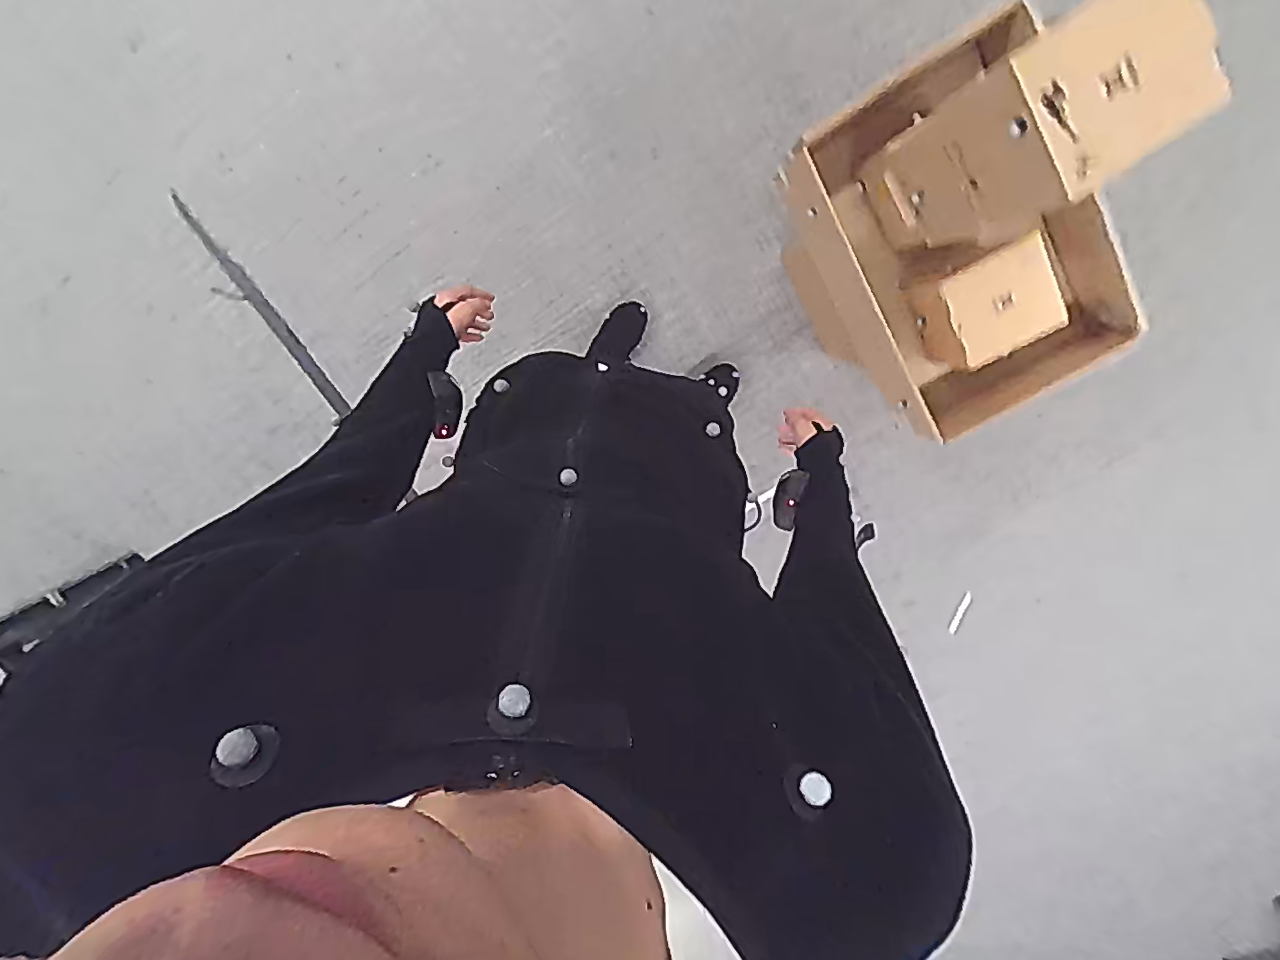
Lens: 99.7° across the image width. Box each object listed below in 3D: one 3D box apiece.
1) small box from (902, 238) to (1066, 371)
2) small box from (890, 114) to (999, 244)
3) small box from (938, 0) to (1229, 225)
[{"bbox_3d":[0.629,-0.323,1.008,0.179,0.176,0.168,-27,104,11],"label":"small box"},{"bbox_3d":[0.508,-0.475,0.793,0.179,0.176,0.168,-32,103,12],"label":"small box"},{"bbox_3d":[0.499,-0.432,0.634,0.179,0.176,0.168,-32,103,10],"label":"small box"}]
